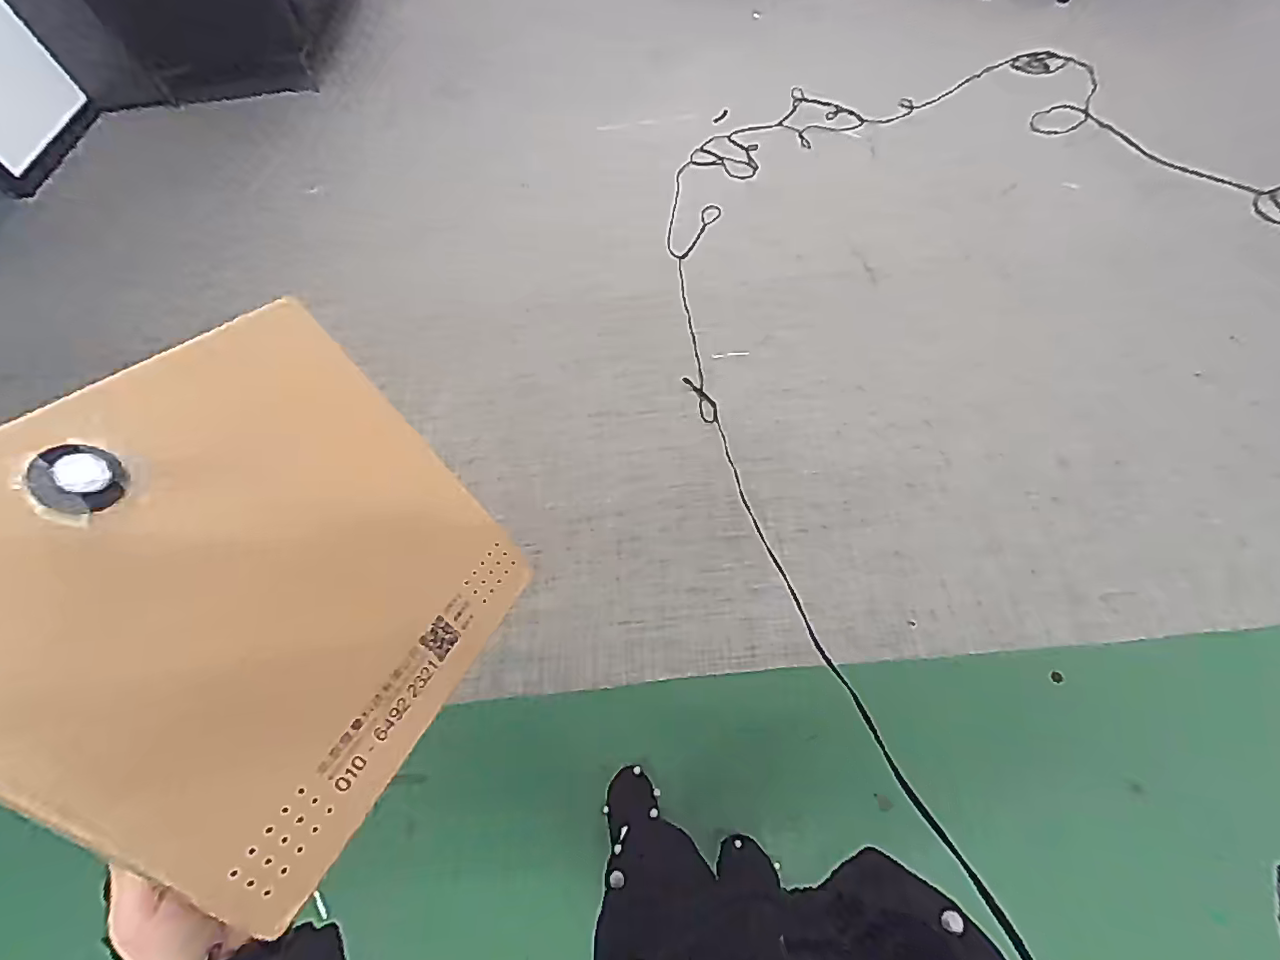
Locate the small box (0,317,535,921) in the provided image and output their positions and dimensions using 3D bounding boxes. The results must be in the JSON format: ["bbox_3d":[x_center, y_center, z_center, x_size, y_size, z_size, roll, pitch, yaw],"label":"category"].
[{"bbox_3d":[-0.188,0.063,0.254,0.179,0.176,0.168,-18,29,38],"label":"small box"}]
